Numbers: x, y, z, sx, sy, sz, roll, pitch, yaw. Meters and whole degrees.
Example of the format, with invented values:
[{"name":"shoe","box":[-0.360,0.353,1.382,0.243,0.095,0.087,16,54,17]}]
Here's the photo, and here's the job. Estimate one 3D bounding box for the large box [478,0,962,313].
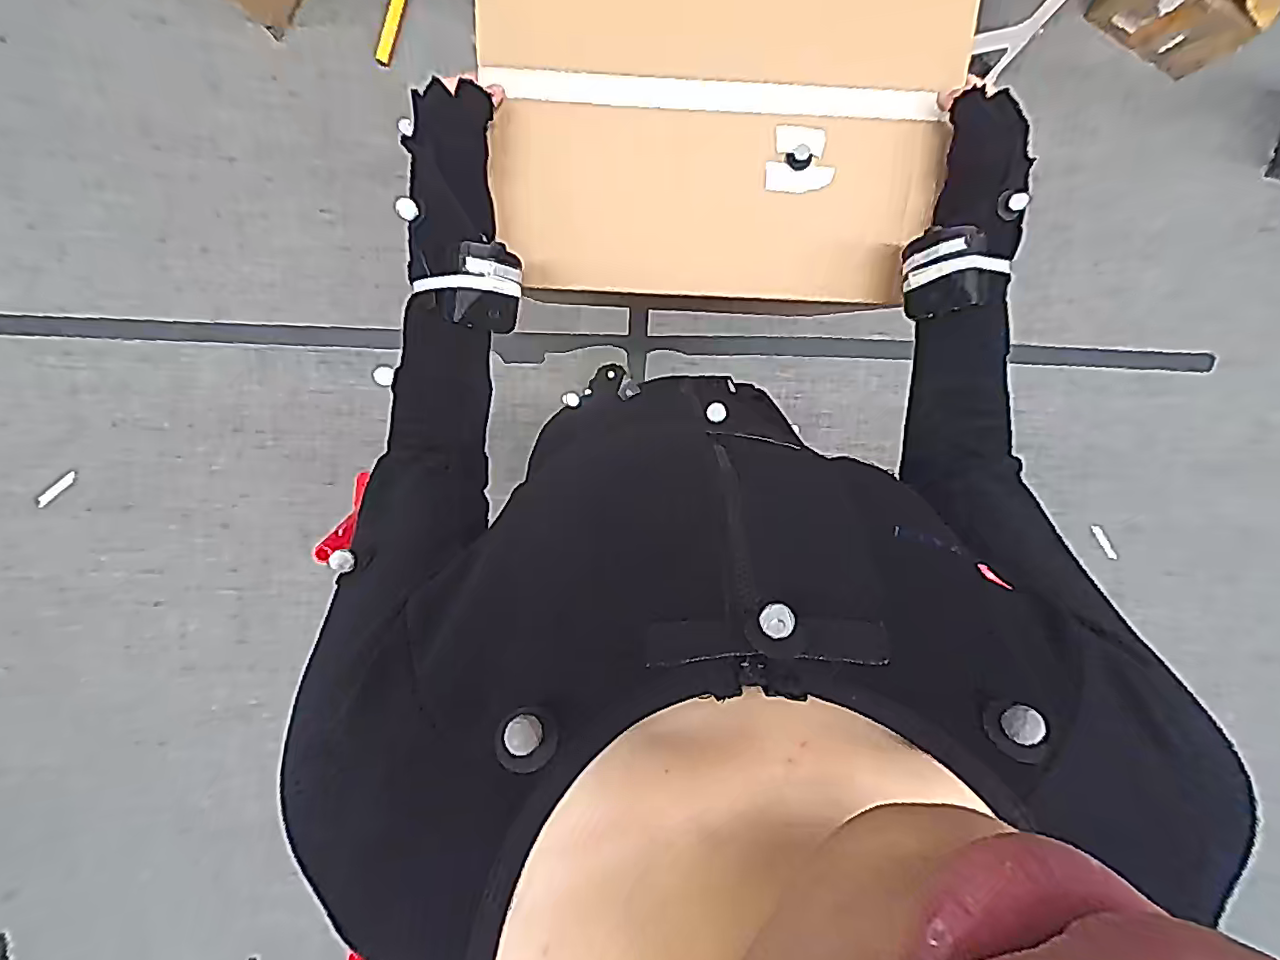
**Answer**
[{"name":"large box","box":[0.058,-0.358,0.601,0.408,0.320,0.320,2,105,-3]}]
